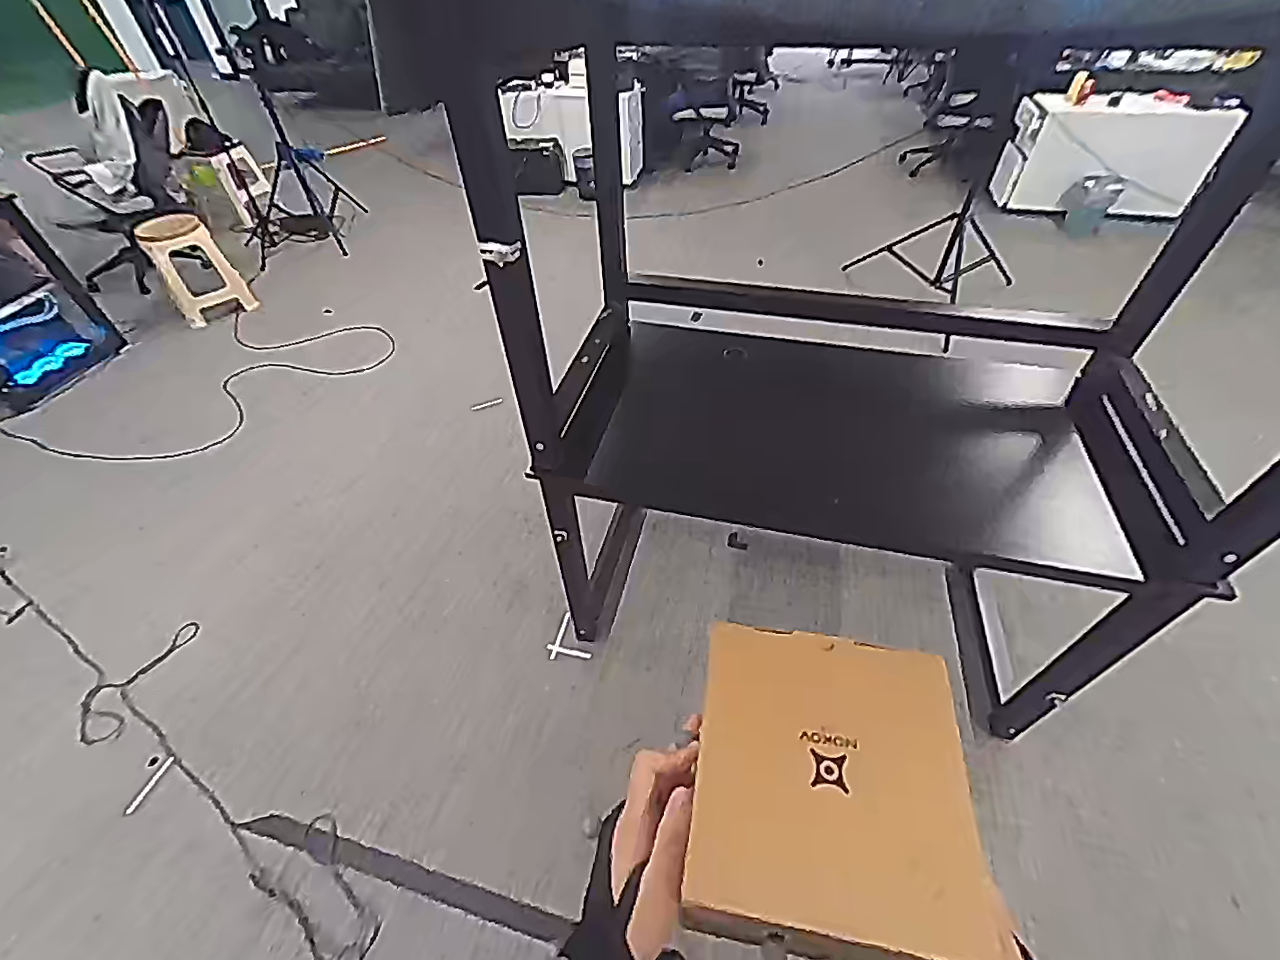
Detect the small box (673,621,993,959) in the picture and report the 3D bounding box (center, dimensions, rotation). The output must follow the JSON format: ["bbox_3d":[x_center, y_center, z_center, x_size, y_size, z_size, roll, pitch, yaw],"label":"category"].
[{"bbox_3d":[0.119,0.233,0.397,0.168,0.176,0.179,6,46,9],"label":"small box"}]
